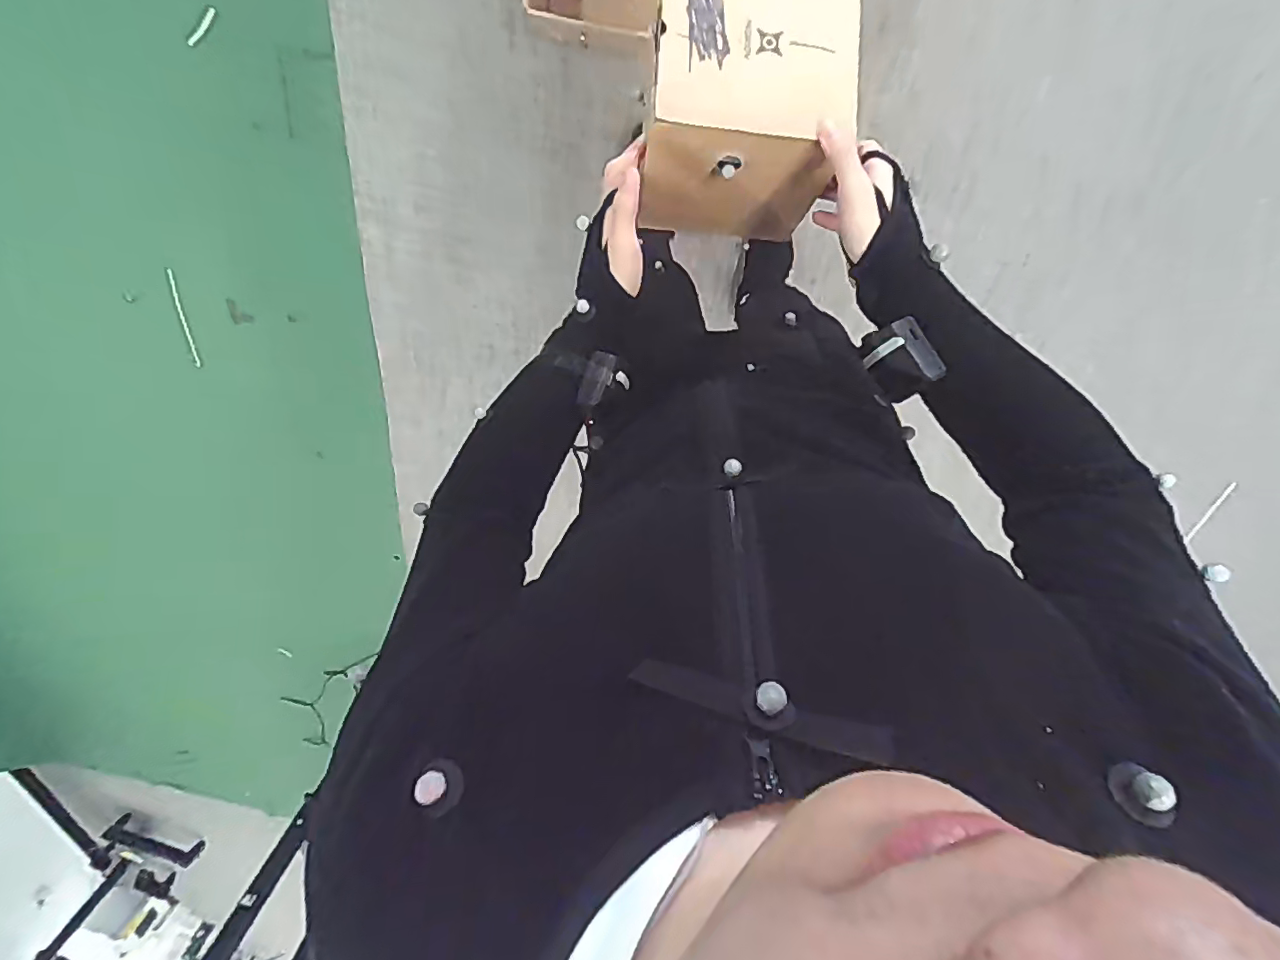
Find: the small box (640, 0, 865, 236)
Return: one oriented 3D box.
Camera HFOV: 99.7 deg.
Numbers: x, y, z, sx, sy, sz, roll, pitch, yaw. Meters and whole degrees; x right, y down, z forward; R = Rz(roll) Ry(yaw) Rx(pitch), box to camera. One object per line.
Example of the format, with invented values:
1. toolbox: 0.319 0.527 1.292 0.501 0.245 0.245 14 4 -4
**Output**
1. small box: 0.096 -0.364 0.532 0.179 0.176 0.168 5 86 -5
